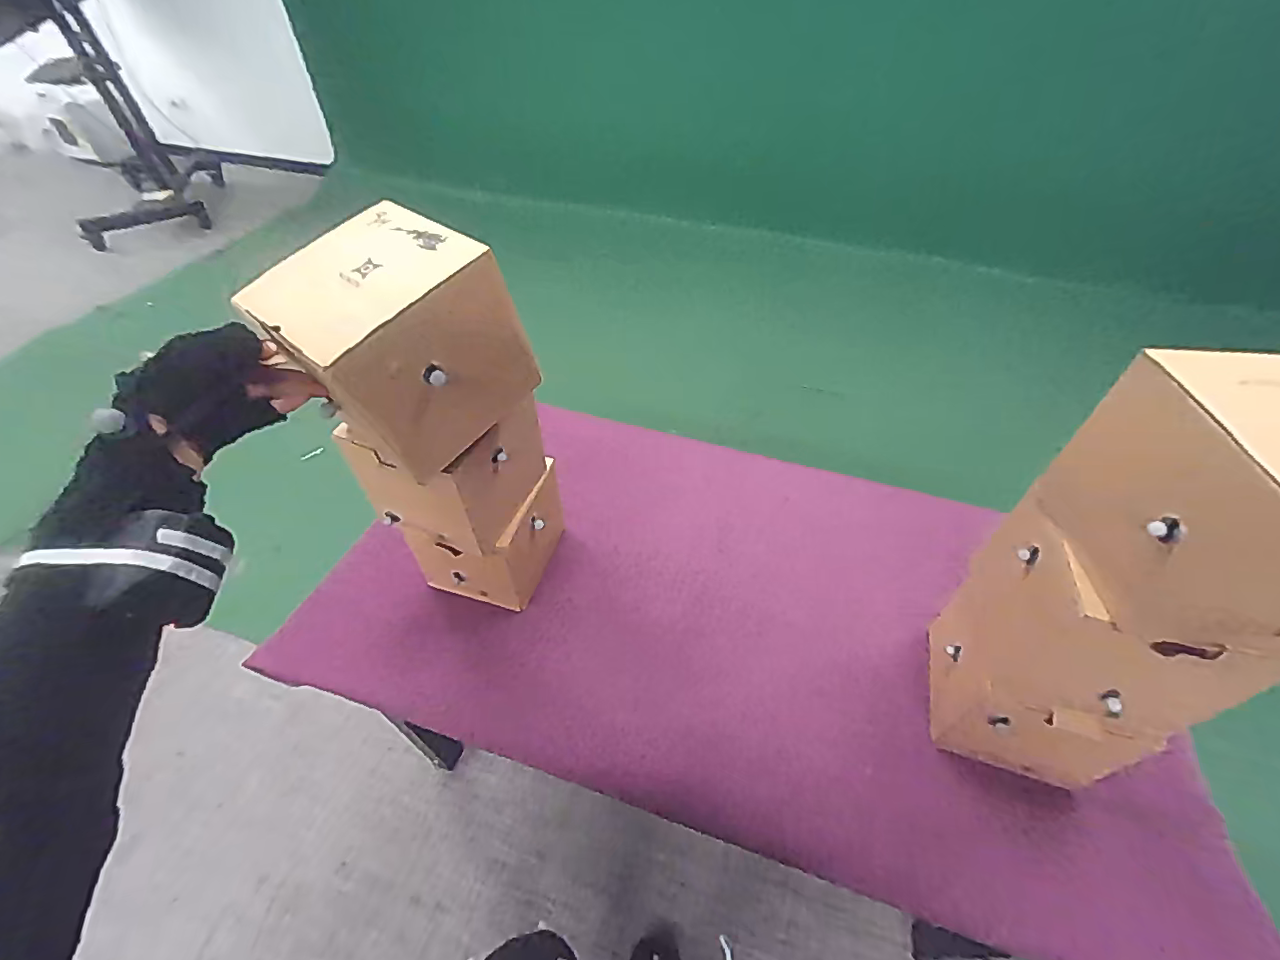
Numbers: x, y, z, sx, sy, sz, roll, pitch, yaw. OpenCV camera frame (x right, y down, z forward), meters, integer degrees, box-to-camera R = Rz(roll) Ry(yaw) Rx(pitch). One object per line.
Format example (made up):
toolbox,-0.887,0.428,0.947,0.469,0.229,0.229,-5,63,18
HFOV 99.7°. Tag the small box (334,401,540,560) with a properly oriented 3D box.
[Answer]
small box,-0.244,-0.023,0.706,0.168,0.176,0.179,17,50,13

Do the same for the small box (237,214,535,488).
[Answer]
small box,-0.234,-0.123,0.540,0.168,0.176,0.179,33,68,25

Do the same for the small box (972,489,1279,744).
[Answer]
small box,0.473,0.141,0.561,0.168,0.176,0.179,11,48,11

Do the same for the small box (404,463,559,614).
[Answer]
small box,-0.233,0.076,0.837,0.168,0.176,0.179,13,50,10

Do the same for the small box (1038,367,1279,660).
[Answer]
small box,0.480,0.031,0.440,0.168,0.176,0.179,4,47,2
